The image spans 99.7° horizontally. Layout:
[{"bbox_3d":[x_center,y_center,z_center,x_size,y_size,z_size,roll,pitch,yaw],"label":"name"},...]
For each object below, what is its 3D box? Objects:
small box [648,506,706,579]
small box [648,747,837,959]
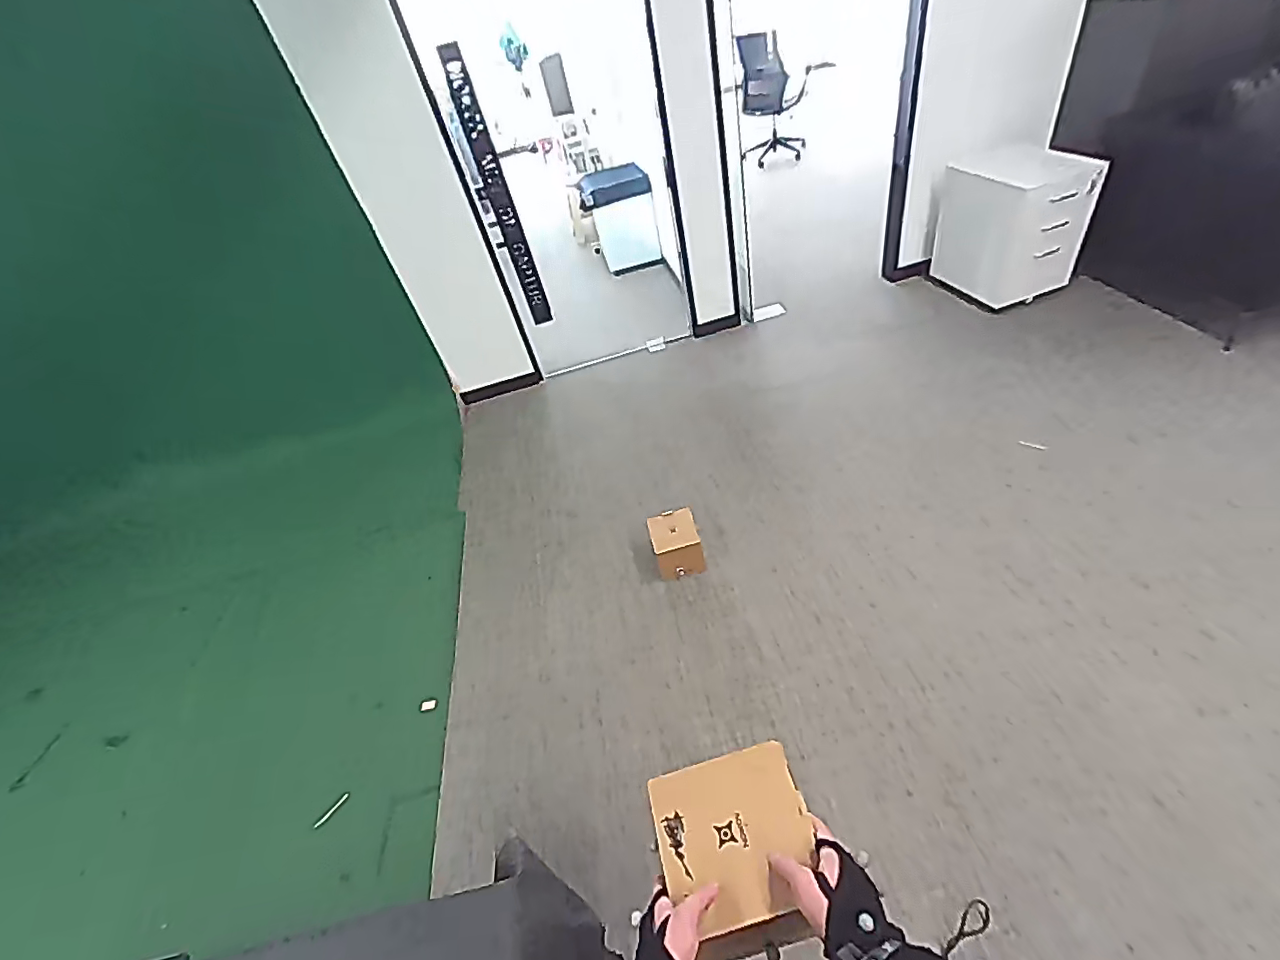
[{"bbox_3d":[0.135,0.227,1.960,0.168,0.176,0.179,-15,42,4],"label":"small box"},{"bbox_3d":[0.122,0.462,0.662,0.179,0.176,0.168,-16,39,0],"label":"small box"}]
